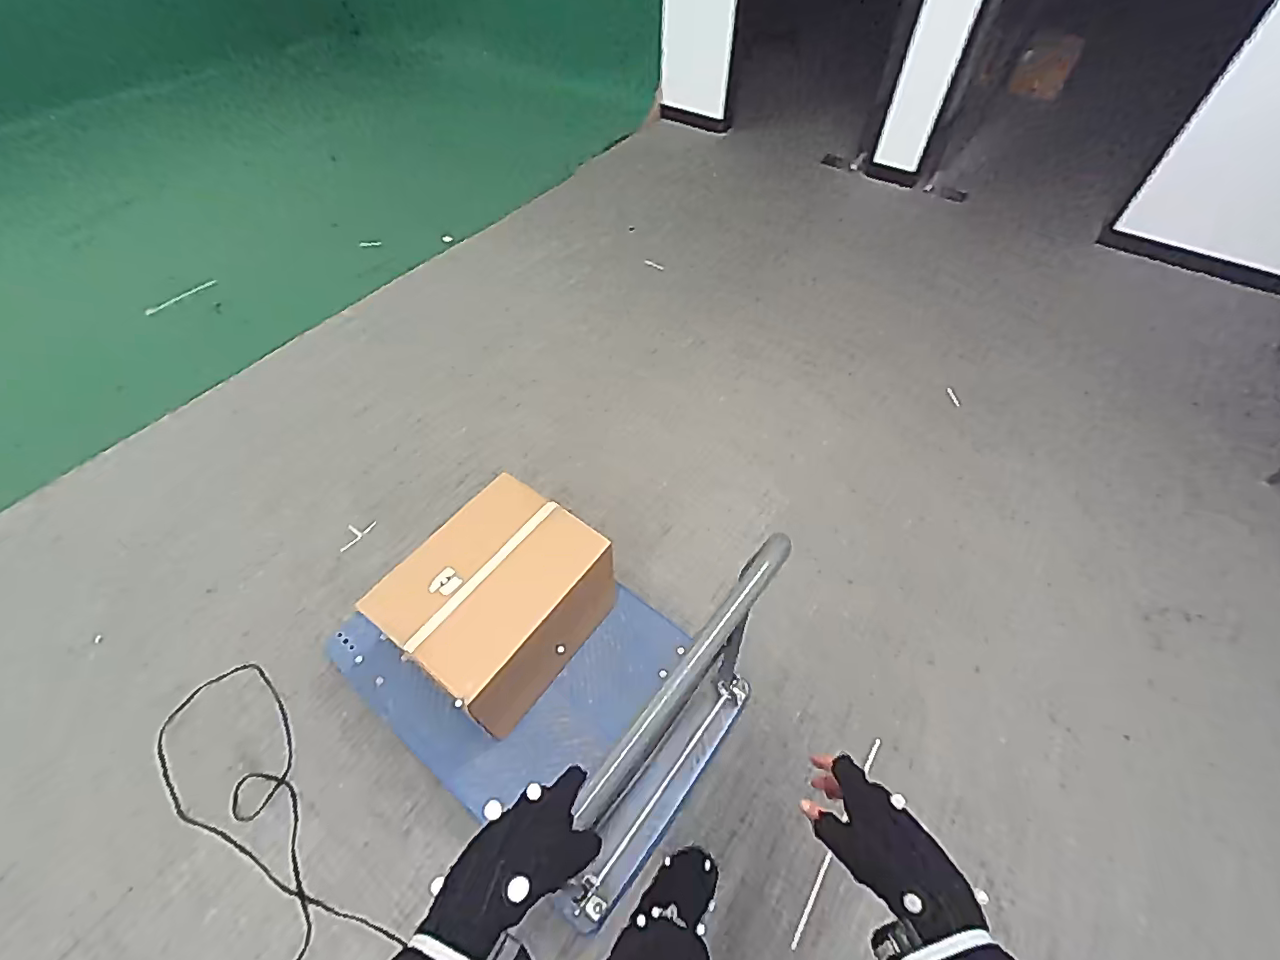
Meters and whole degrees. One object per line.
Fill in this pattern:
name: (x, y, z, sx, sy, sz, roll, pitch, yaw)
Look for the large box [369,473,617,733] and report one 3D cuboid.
large box: (-0.289, 0.269, 1.201, 0.320, 0.320, 0.408, 31, 60, 21)
